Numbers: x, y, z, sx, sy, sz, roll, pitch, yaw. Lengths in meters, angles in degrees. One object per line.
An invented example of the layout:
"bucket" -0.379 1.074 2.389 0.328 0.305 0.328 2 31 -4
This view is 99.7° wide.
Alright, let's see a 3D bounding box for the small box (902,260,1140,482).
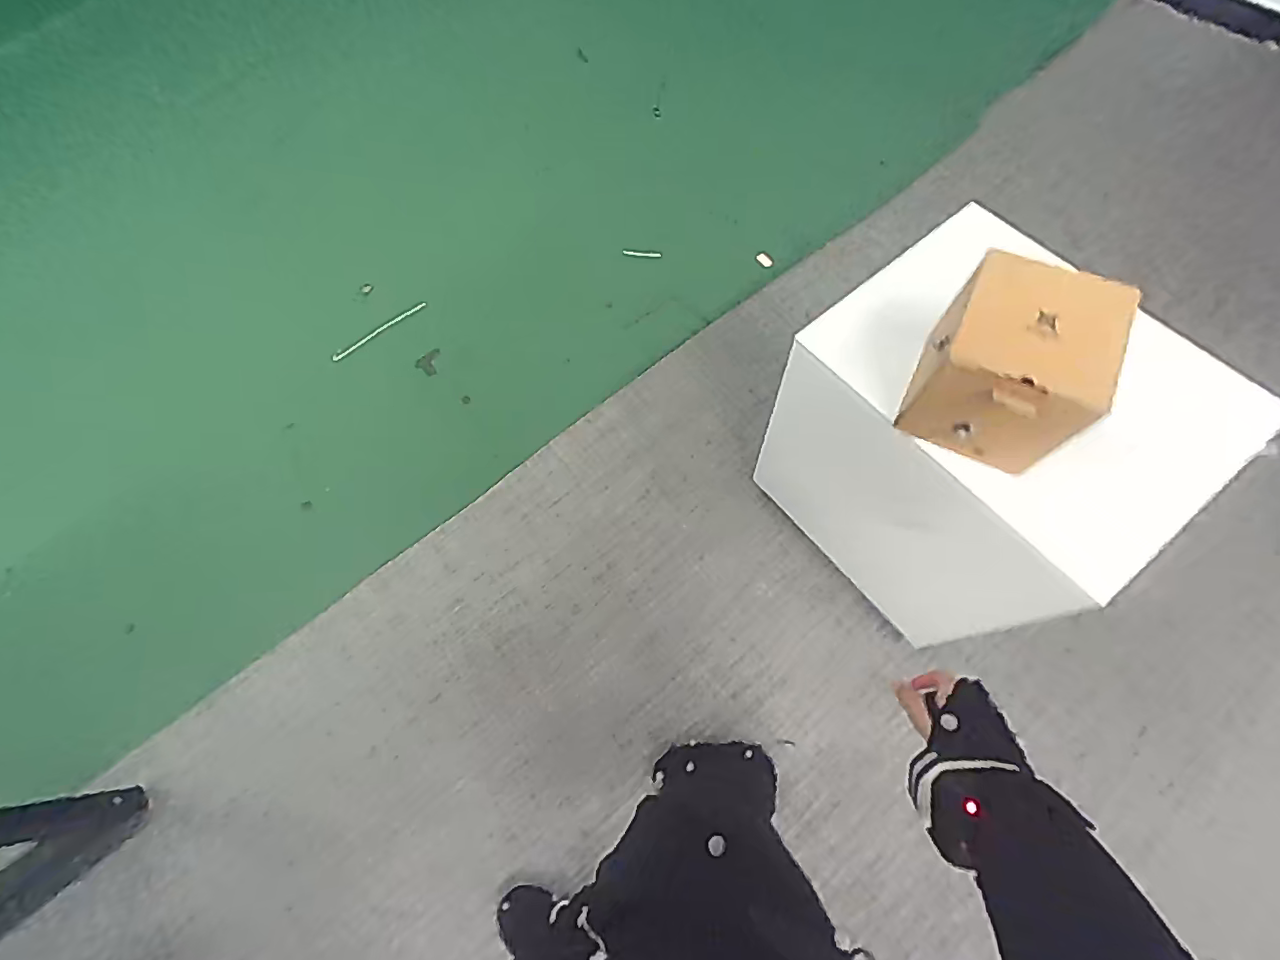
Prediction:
"small box" 0.455 -0.128 0.672 0.168 0.176 0.179 25 71 13
